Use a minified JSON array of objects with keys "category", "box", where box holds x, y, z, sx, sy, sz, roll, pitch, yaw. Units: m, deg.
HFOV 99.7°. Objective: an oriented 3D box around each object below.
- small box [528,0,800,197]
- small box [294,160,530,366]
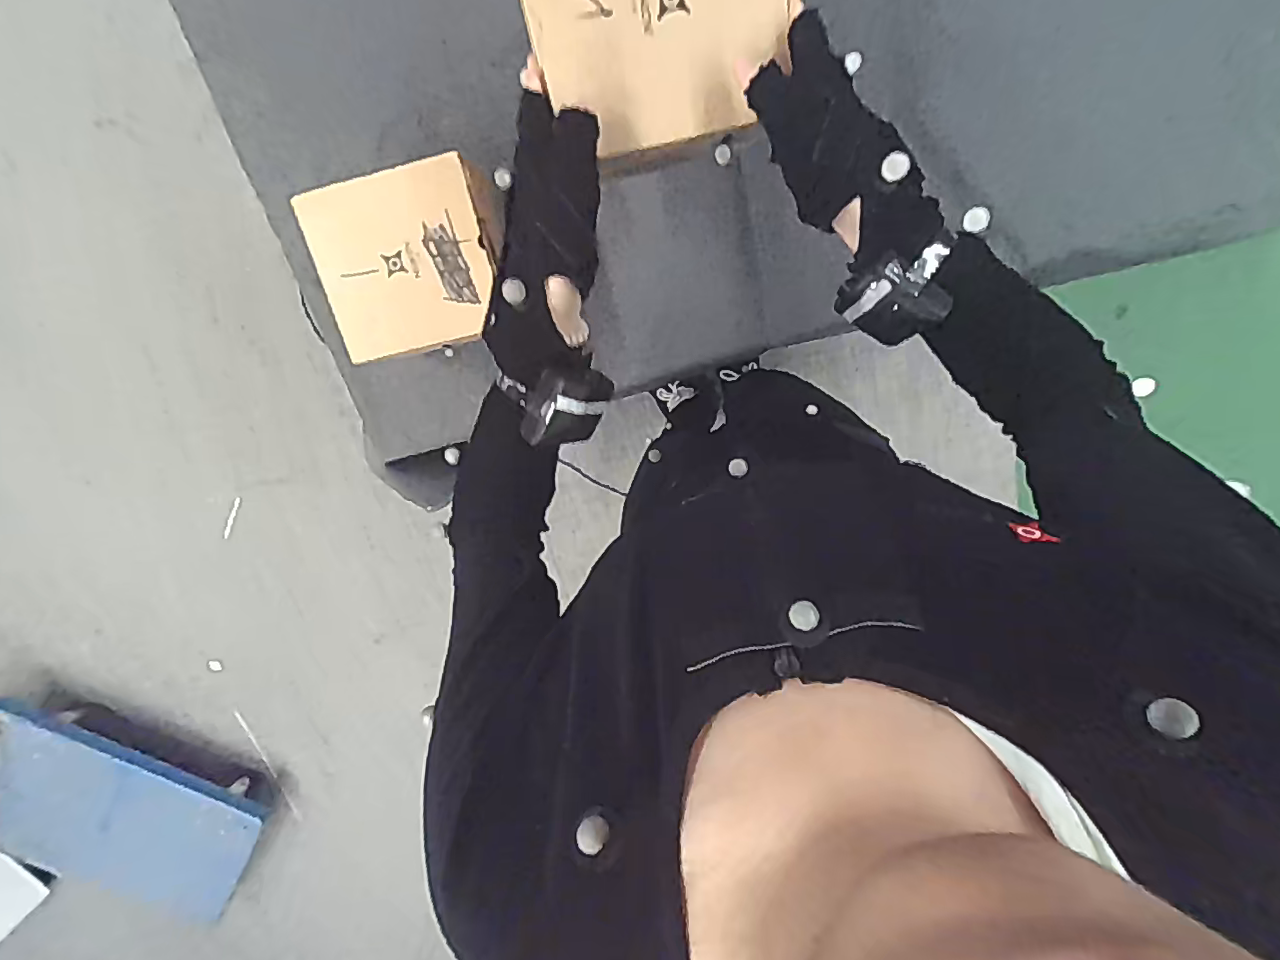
[{"category":"small box","box":[0.009,-0.341,0.436,0.179,0.176,0.168,-13,113,-1]},{"category":"small box","box":[-0.235,-0.235,0.616,0.179,0.176,0.168,-12,105,5]}]
